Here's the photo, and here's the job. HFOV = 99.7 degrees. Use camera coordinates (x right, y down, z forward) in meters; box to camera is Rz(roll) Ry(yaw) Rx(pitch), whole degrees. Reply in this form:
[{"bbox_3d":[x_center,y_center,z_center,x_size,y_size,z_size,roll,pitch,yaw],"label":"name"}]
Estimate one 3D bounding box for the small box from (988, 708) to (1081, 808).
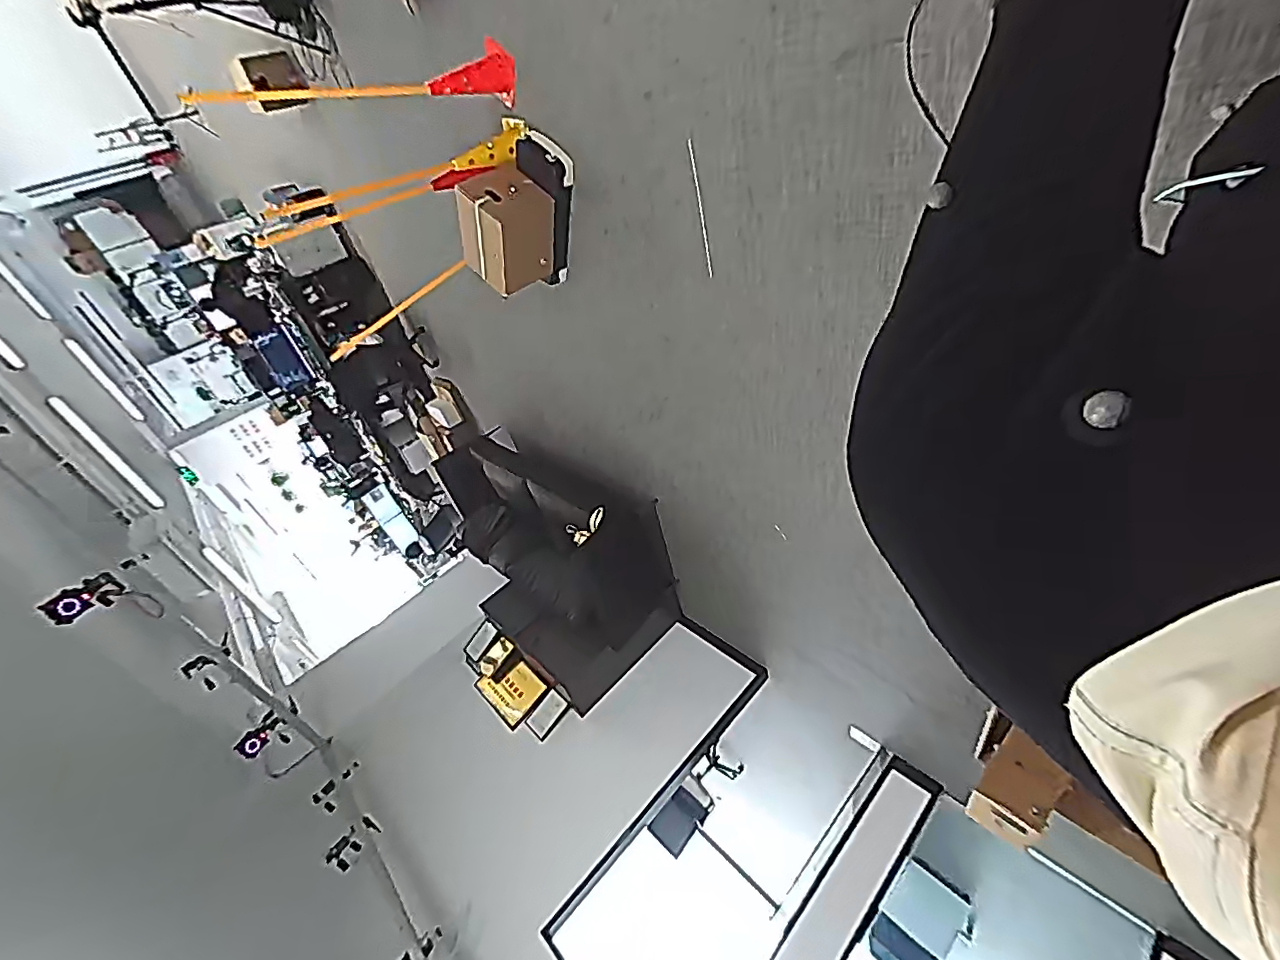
[{"bbox_3d":[1.190,0.833,1.632,0.168,0.176,0.179,28,144,41],"label":"small box"}]
